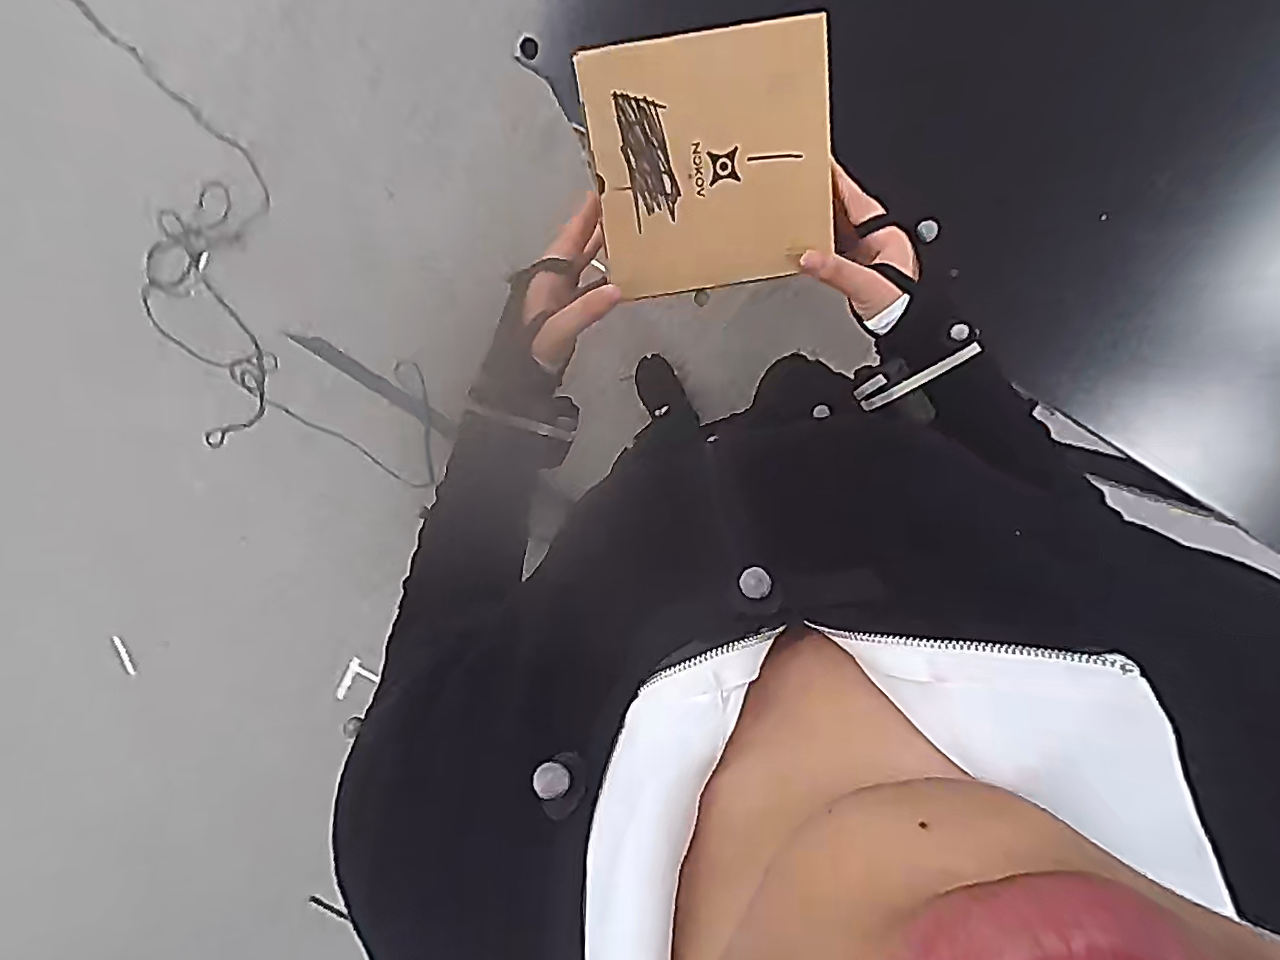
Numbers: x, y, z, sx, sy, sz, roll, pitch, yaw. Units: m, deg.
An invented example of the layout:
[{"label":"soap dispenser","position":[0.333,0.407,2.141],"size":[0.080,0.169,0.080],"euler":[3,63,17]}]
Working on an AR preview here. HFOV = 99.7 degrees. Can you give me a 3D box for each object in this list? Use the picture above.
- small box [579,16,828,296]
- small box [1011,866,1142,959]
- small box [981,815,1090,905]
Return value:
[{"label":"small box","position":[0.050,-0.258,0.475],"size":[0.179,0.176,0.168],"euler":[-7,108,0]},{"label":"small box","position":[1.167,1.202,1.462],"size":[0.179,0.176,0.168],"euler":[33,104,-2]},{"label":"small box","position":[1.169,1.161,1.620],"size":[0.168,0.176,0.179],"euler":[31,105,-3]}]
